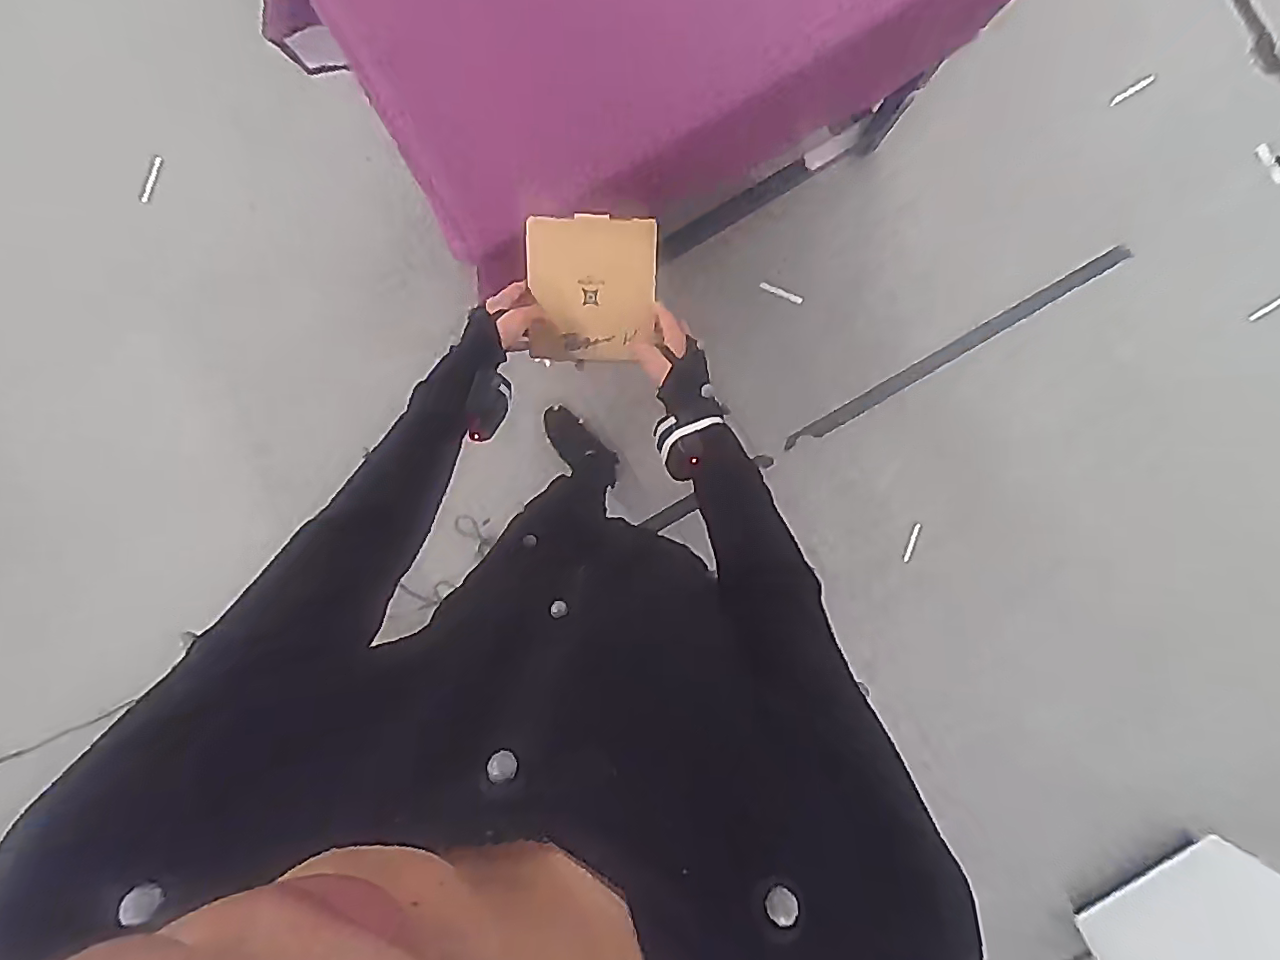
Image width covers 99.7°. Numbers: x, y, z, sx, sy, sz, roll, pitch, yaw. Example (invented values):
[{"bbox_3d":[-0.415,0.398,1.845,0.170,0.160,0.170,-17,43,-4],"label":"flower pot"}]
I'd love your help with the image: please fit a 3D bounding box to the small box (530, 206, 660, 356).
[{"bbox_3d":[-0.060,-0.271,0.770,0.168,0.176,0.179,2,102,0],"label":"small box"}]
